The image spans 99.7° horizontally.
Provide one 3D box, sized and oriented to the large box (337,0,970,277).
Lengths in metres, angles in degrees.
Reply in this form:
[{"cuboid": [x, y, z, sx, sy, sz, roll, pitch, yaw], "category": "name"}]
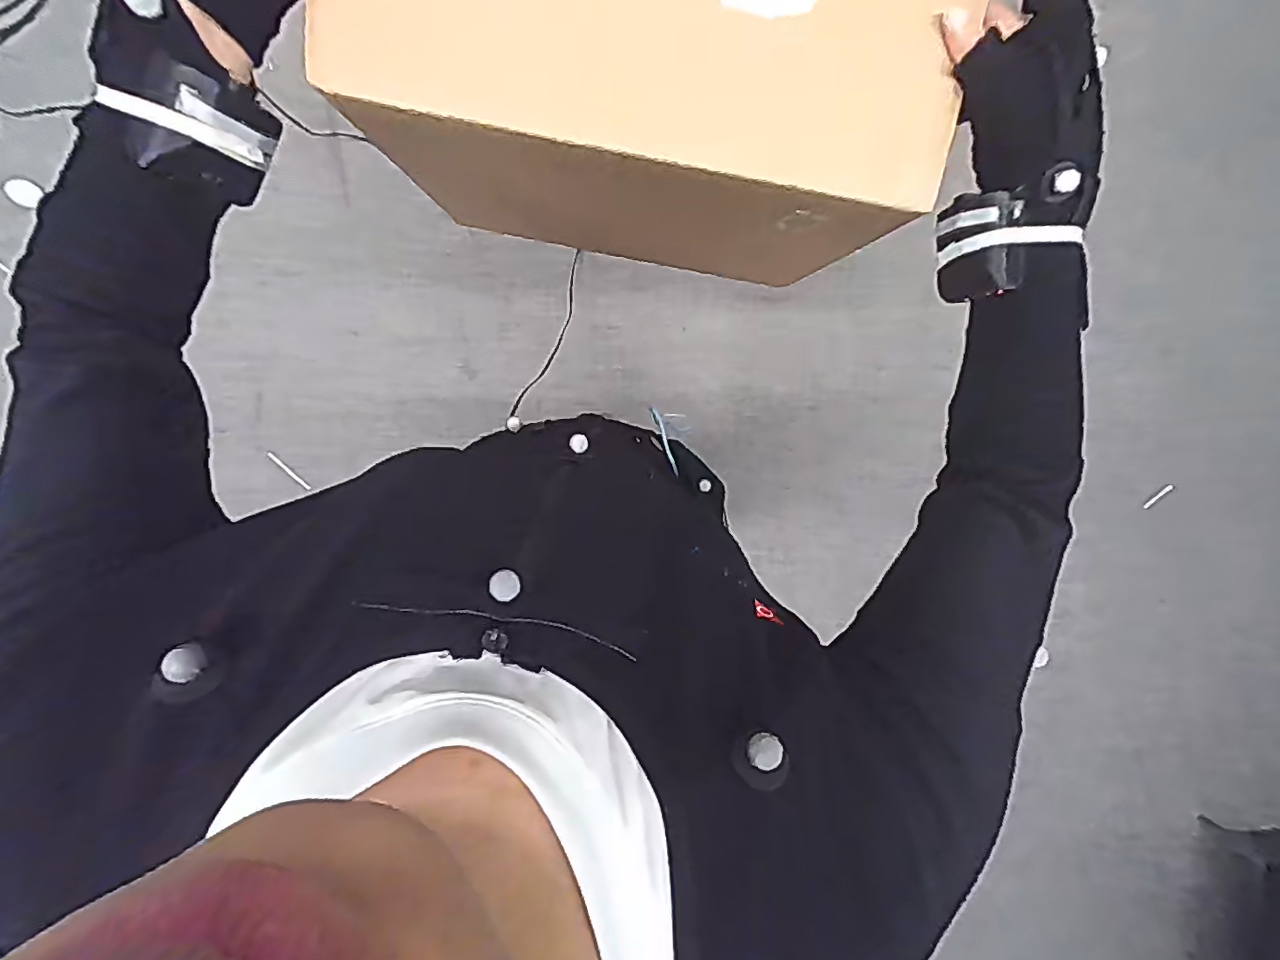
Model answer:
[{"cuboid": [0.016, -0.393, 0.477, 0.408, 0.320, 0.320, 9, 101, -4], "category": "large box"}]
